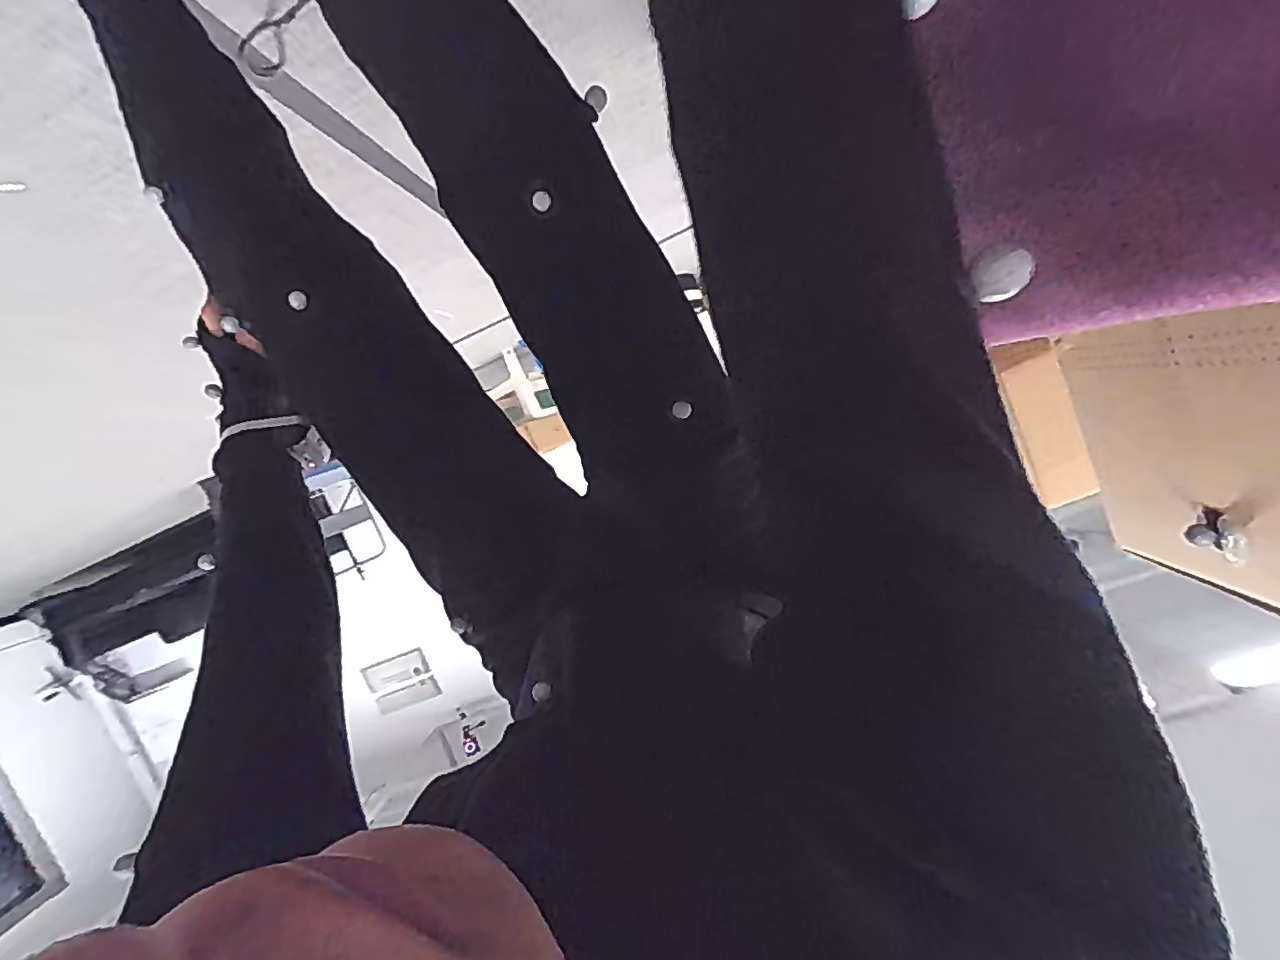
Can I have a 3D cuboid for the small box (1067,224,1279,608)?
[{"bbox_3d":[0.358,-0.045,0.262,0.168,0.176,0.179,-21,-174,11],"label":"small box"}]
